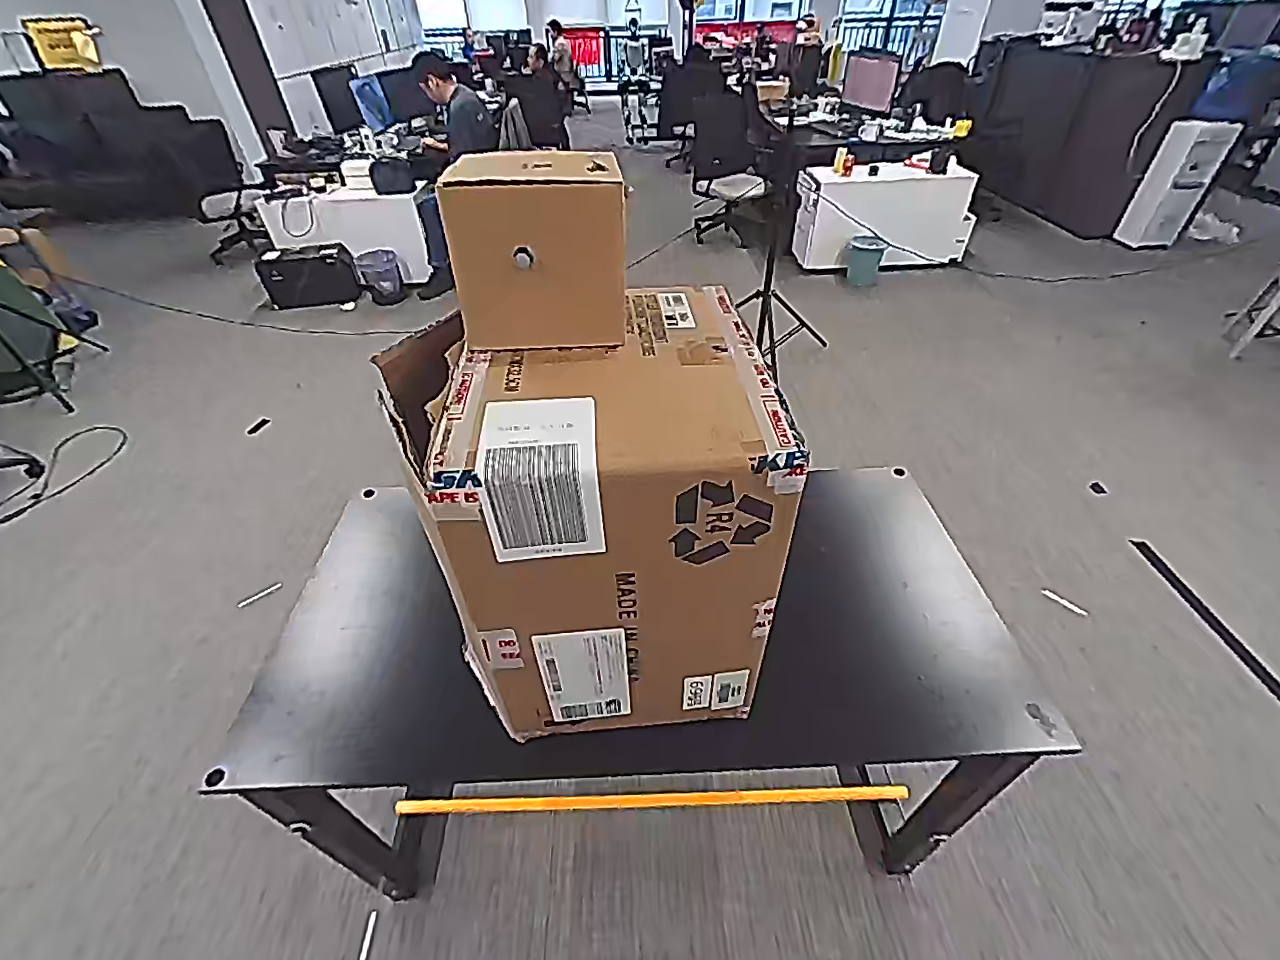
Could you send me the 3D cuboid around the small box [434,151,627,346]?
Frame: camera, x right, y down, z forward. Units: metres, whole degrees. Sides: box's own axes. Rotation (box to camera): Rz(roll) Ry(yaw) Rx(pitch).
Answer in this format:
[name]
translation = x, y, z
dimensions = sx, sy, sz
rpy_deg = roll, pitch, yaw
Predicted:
[small box]
translation = -0.109, -0.261, 0.611
dimensions = 0.179, 0.176, 0.168
rpy_deg = -4, 39, -4
